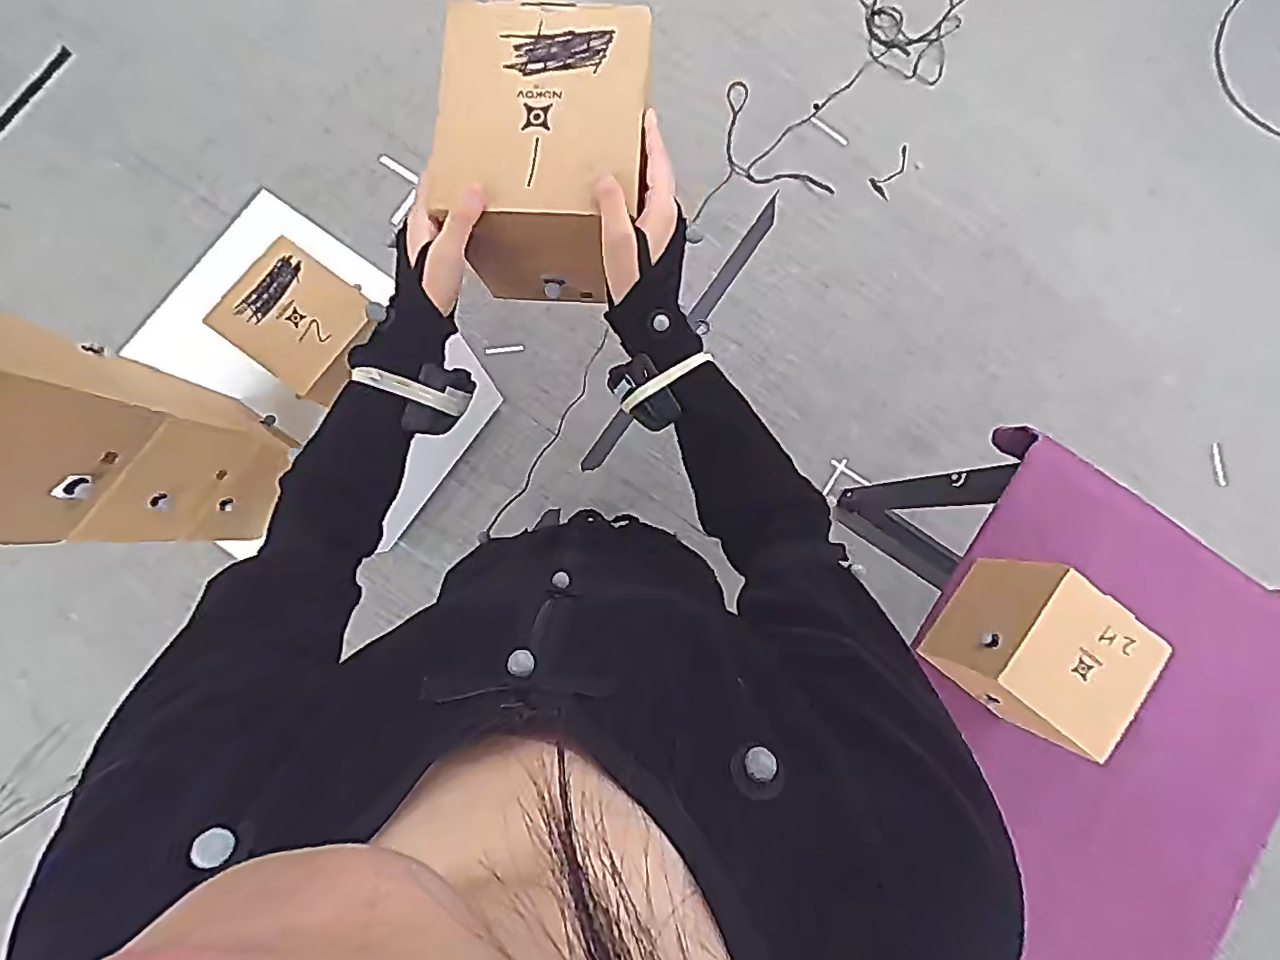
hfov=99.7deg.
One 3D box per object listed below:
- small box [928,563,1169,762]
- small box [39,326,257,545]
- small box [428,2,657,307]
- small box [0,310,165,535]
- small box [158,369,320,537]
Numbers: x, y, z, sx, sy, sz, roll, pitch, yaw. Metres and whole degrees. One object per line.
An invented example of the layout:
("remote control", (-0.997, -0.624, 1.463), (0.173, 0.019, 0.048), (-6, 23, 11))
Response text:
("small box", (0.534, 0.232, 0.738), (0.168, 0.176, 0.179), (39, 83, -1))
("small box", (-0.610, -0.042, 0.633), (0.179, 0.176, 0.168), (34, 83, -1))
("small box", (-0.072, -0.281, 0.499), (0.168, 0.176, 0.179), (4, 85, 4))
("small box", (-0.596, -0.059, 0.472), (0.179, 0.176, 0.168), (34, 84, -2))
("small box", (-0.627, -0.027, 0.795), (0.179, 0.176, 0.168), (35, 82, 0))
